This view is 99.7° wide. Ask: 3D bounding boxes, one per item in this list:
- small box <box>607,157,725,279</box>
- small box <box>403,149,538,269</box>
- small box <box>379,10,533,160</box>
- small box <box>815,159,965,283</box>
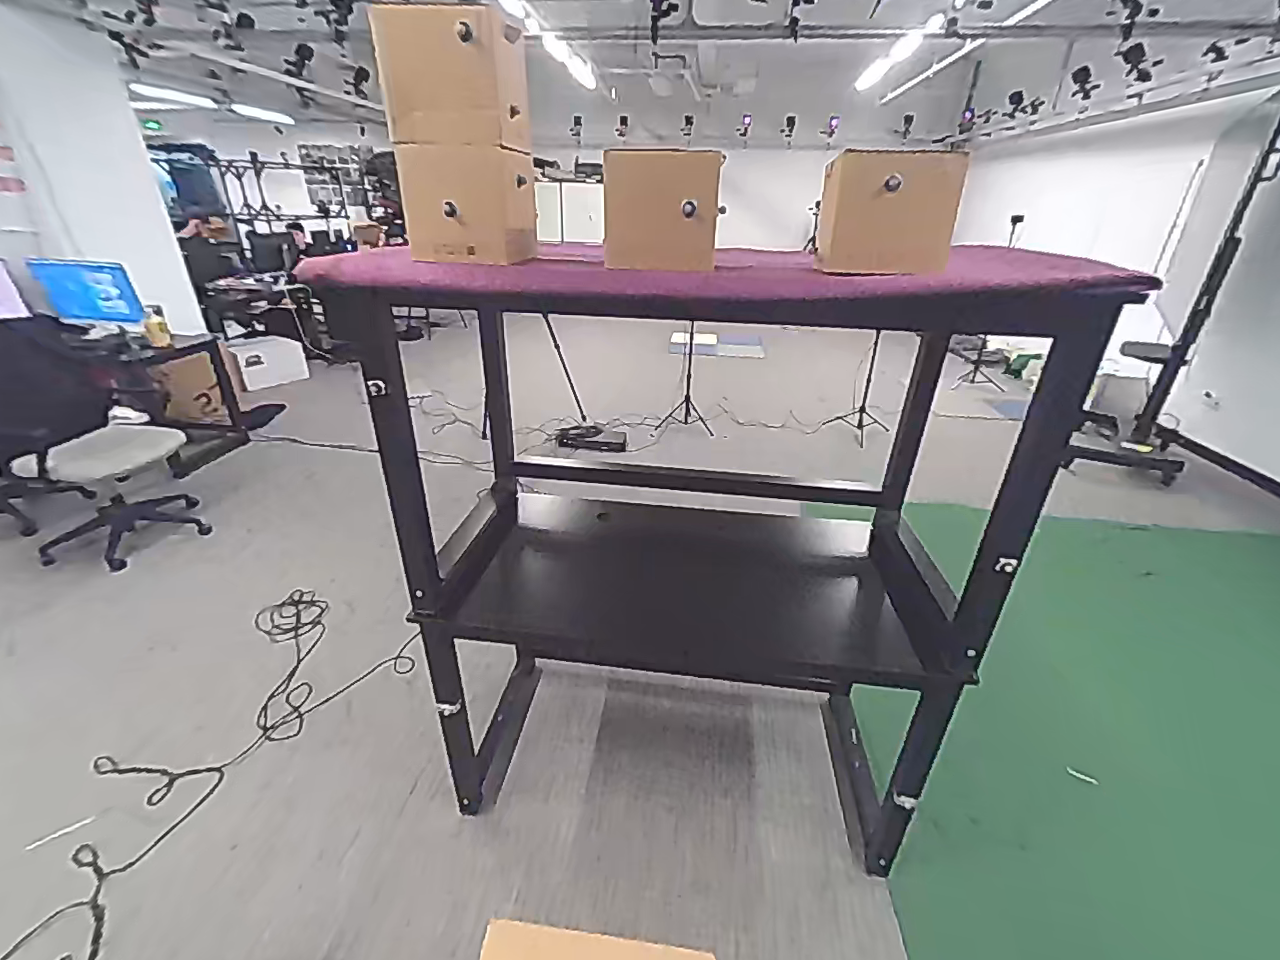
[{"bbox_3d":[0.044,-0.433,0.902,0.179,0.176,0.168,4,26,5],"label":"small box"},{"bbox_3d":[-0.275,-0.460,0.925,0.168,0.176,0.179,6,27,4],"label":"small box"},{"bbox_3d":[-0.275,-0.604,0.851,0.179,0.176,0.168,4,27,2],"label":"small box"},{"bbox_3d":[0.392,-0.416,0.887,0.179,0.176,0.168,5,24,7],"label":"small box"}]
